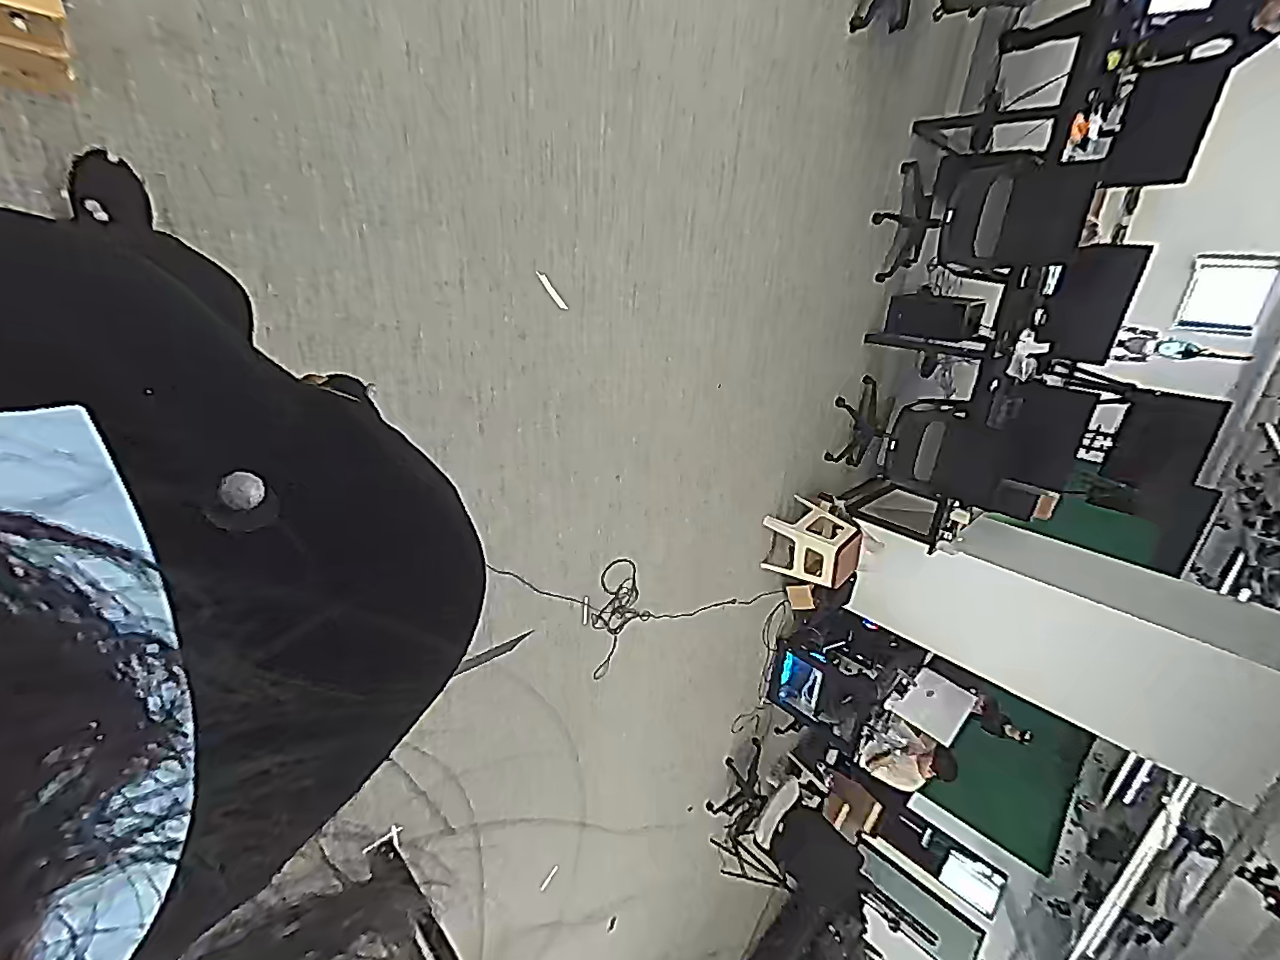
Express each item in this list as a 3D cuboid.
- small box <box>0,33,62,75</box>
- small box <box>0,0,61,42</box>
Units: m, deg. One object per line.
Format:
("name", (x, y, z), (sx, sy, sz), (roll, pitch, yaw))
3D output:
("small box", (-0.874, -0.658, 0.693), (0.168, 0.176, 0.179), (-11, 115, -45))
("small box", (-0.768, -0.608, 0.580), (0.179, 0.176, 0.168), (-16, 119, -42))
